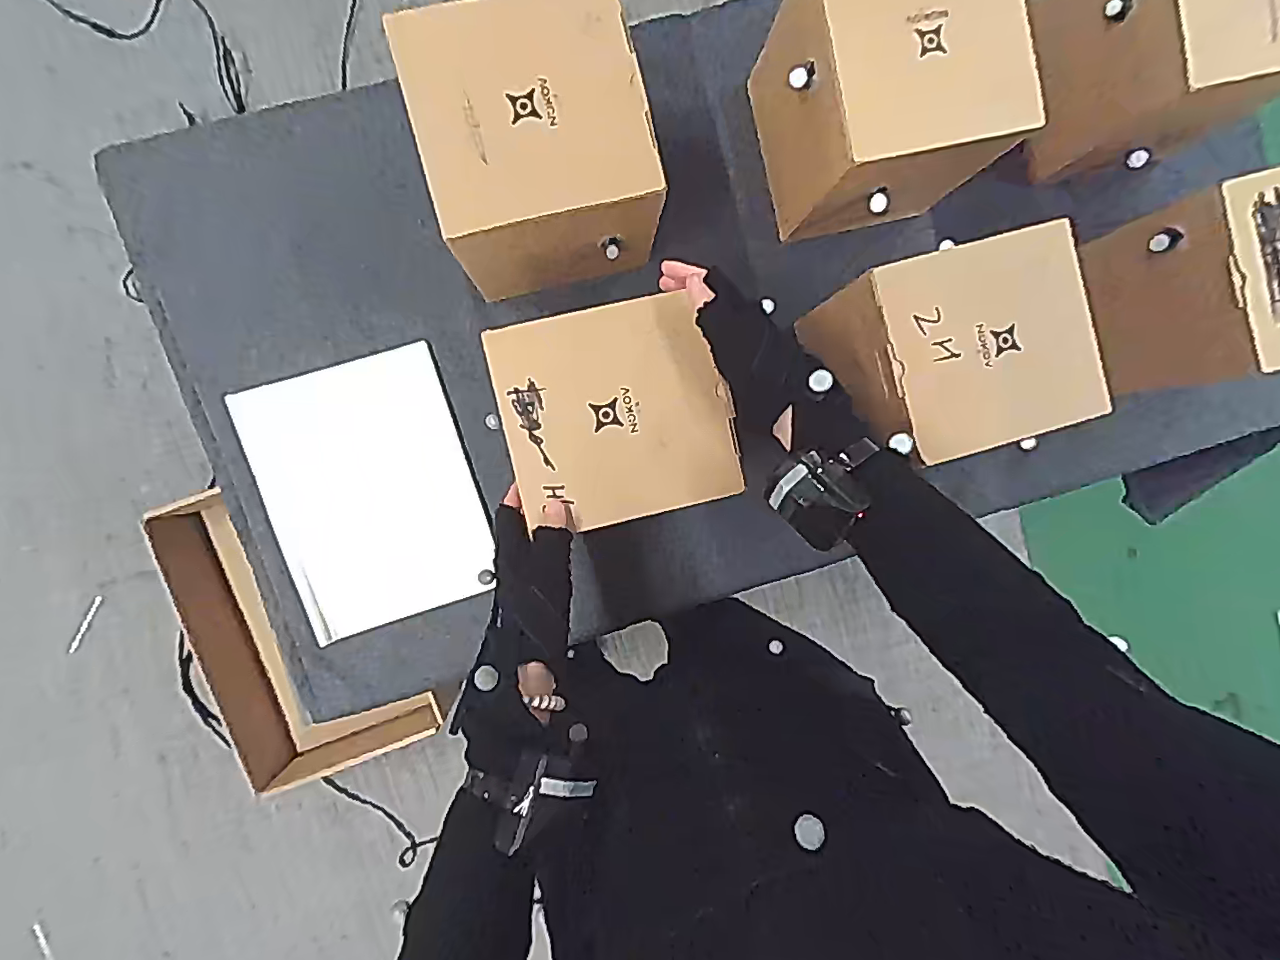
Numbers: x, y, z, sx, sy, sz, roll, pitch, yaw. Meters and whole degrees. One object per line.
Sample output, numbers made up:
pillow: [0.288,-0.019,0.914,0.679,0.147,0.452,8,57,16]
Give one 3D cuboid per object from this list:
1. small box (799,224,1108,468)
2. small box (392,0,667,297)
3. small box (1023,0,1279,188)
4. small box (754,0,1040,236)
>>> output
small box: [0.279,-0.112,0.517,0.179,0.176,0.168,-15,92,-4]
small box: [-0.087,-0.282,0.482,0.179,0.176,0.168,-14,92,-4]
small box: [0.502,-0.422,0.524,0.168,0.176,0.179,-13,94,-3]
small box: [0.221,-0.351,0.508,0.168,0.176,0.179,-13,93,-4]
